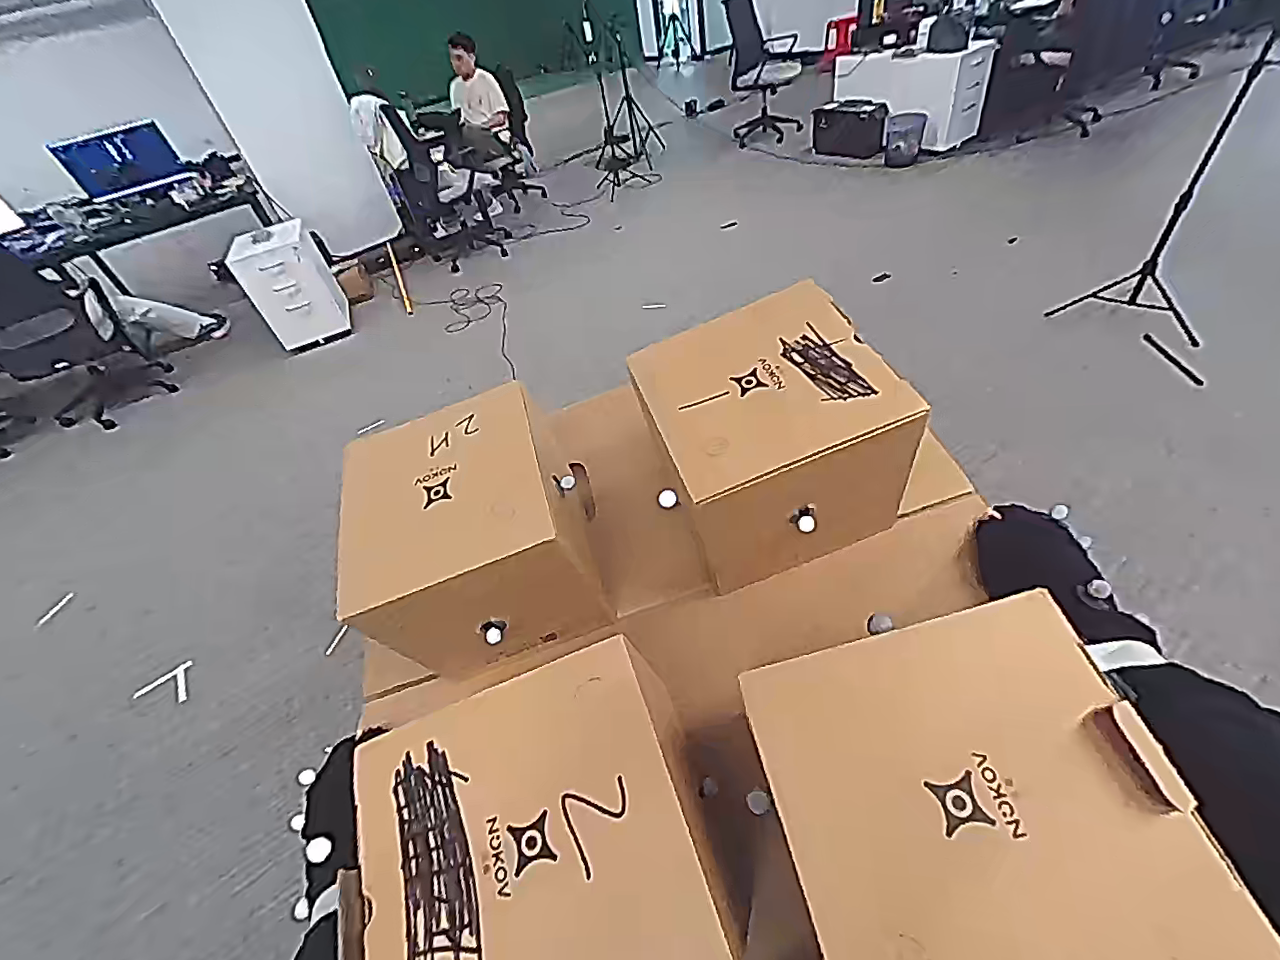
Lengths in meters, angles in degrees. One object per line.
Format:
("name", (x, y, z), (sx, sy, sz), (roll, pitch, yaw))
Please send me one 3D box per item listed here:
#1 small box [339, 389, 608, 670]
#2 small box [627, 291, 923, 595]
("small box", (-0.140, 0.056, 0.492), (0.168, 0.176, 0.179), (-20, 53, 1))
("small box", (0.108, -0.025, 0.477), (0.179, 0.176, 0.168), (-22, 53, 1))
